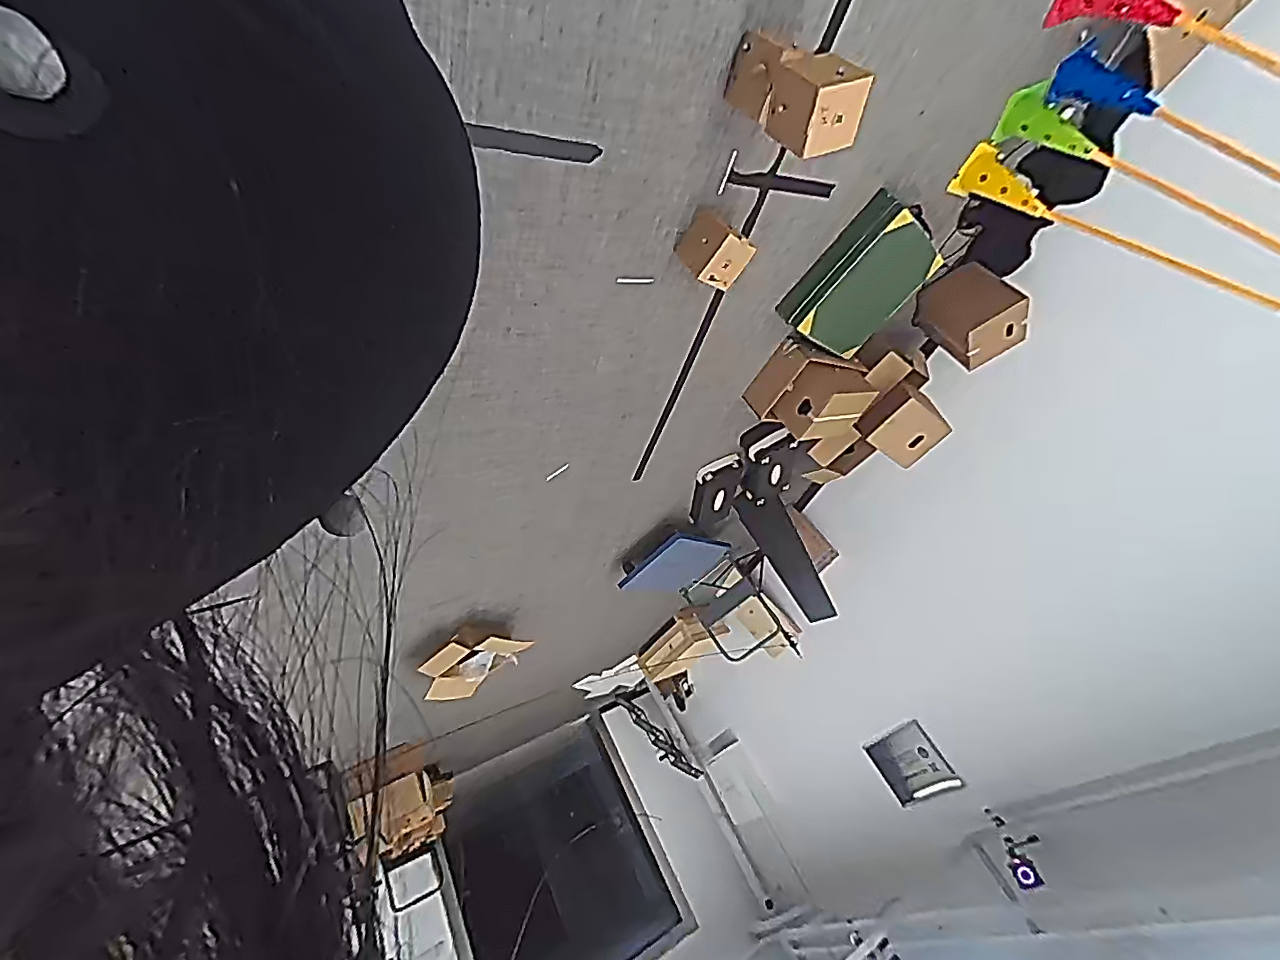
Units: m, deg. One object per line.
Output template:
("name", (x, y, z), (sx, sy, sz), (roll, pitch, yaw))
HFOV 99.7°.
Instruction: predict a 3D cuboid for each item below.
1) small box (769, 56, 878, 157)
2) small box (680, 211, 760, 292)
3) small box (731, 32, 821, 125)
("small box", (0.467, -0.973, 1.403), (0.179, 0.176, 0.168), (-20, 148, -18))
("small box", (0.268, -0.784, 1.851), (0.168, 0.176, 0.179), (-1, 140, -44))
("small box", (0.378, -1.090, 1.479), (0.179, 0.176, 0.168), (-15, 147, -30))
